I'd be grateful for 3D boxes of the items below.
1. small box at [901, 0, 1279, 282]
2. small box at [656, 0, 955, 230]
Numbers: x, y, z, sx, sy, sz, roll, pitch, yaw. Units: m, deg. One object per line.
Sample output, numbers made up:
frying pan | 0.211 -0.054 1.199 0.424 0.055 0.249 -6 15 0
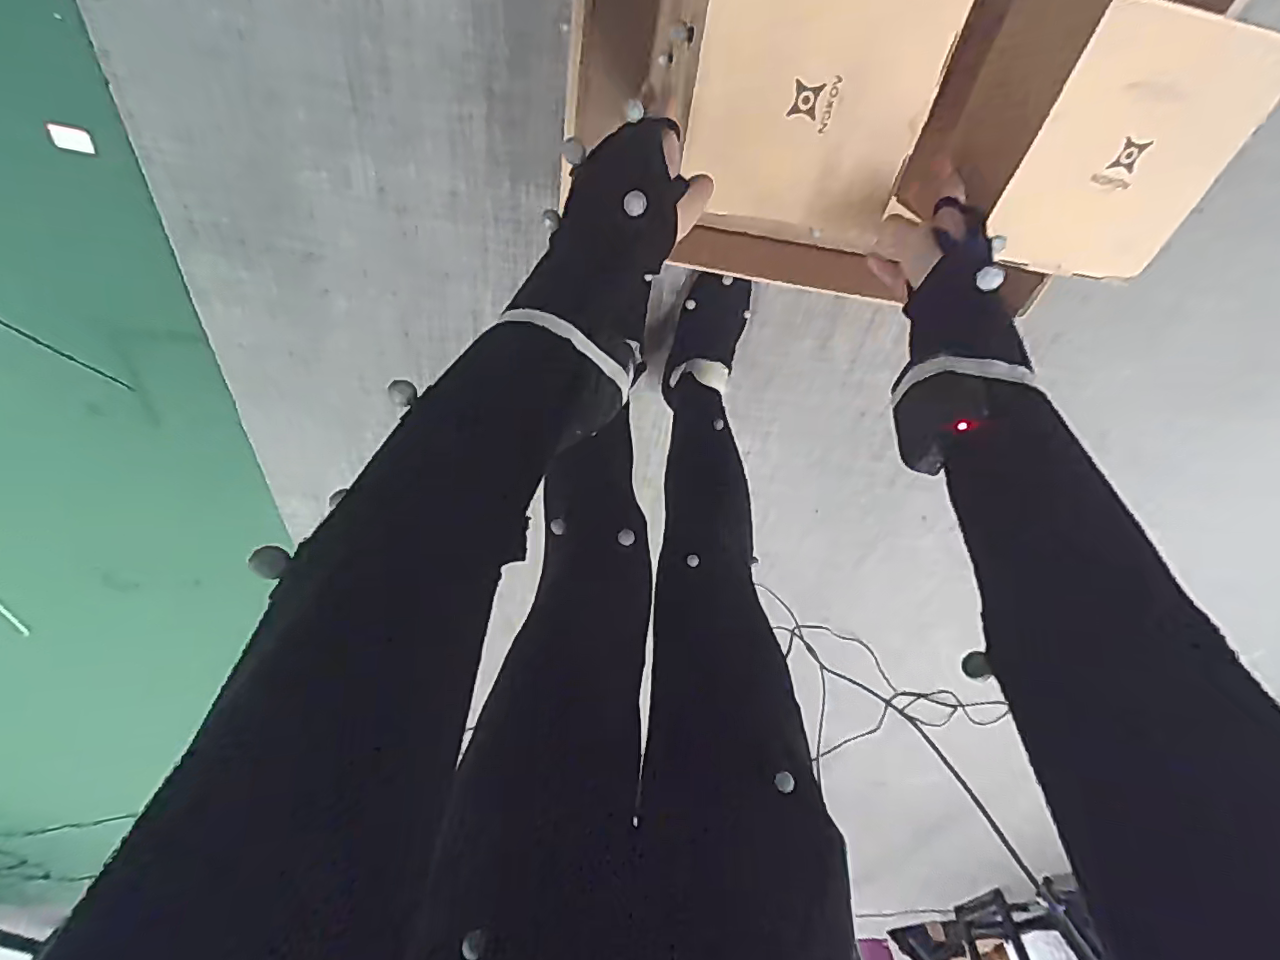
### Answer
small box | 0.364 -0.307 0.483 0.168 0.176 0.179 7 132 -8
small box | 0.112 -0.332 0.453 0.179 0.176 0.168 4 132 -7
